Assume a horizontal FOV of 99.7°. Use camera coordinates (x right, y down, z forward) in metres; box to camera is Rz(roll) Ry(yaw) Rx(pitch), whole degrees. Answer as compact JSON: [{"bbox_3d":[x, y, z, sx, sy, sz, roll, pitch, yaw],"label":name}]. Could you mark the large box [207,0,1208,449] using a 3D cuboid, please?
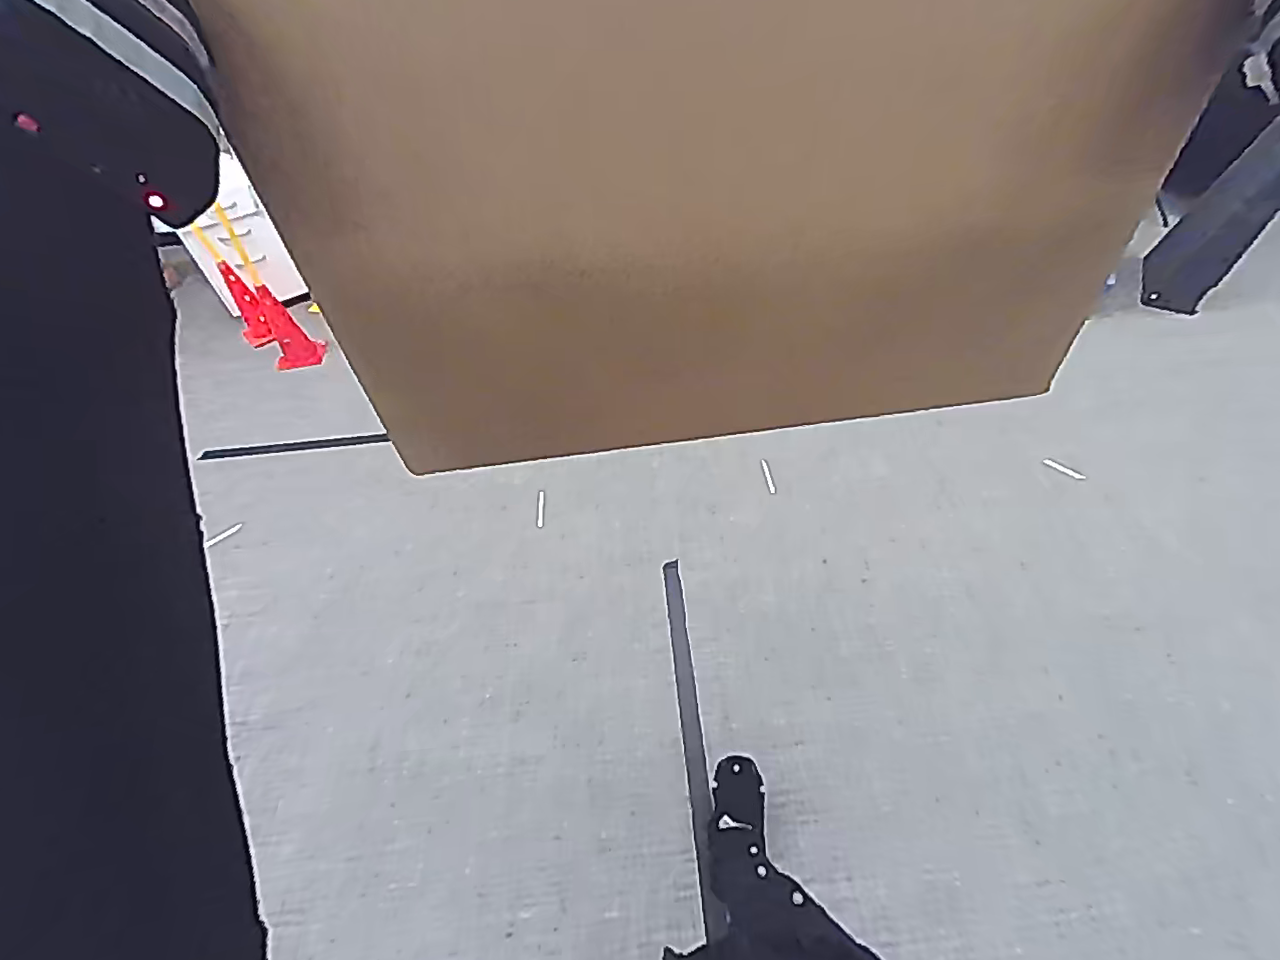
[{"bbox_3d":[0.027,-0.250,0.346,0.408,0.320,0.320,-7,46,-2],"label":"large box"}]
